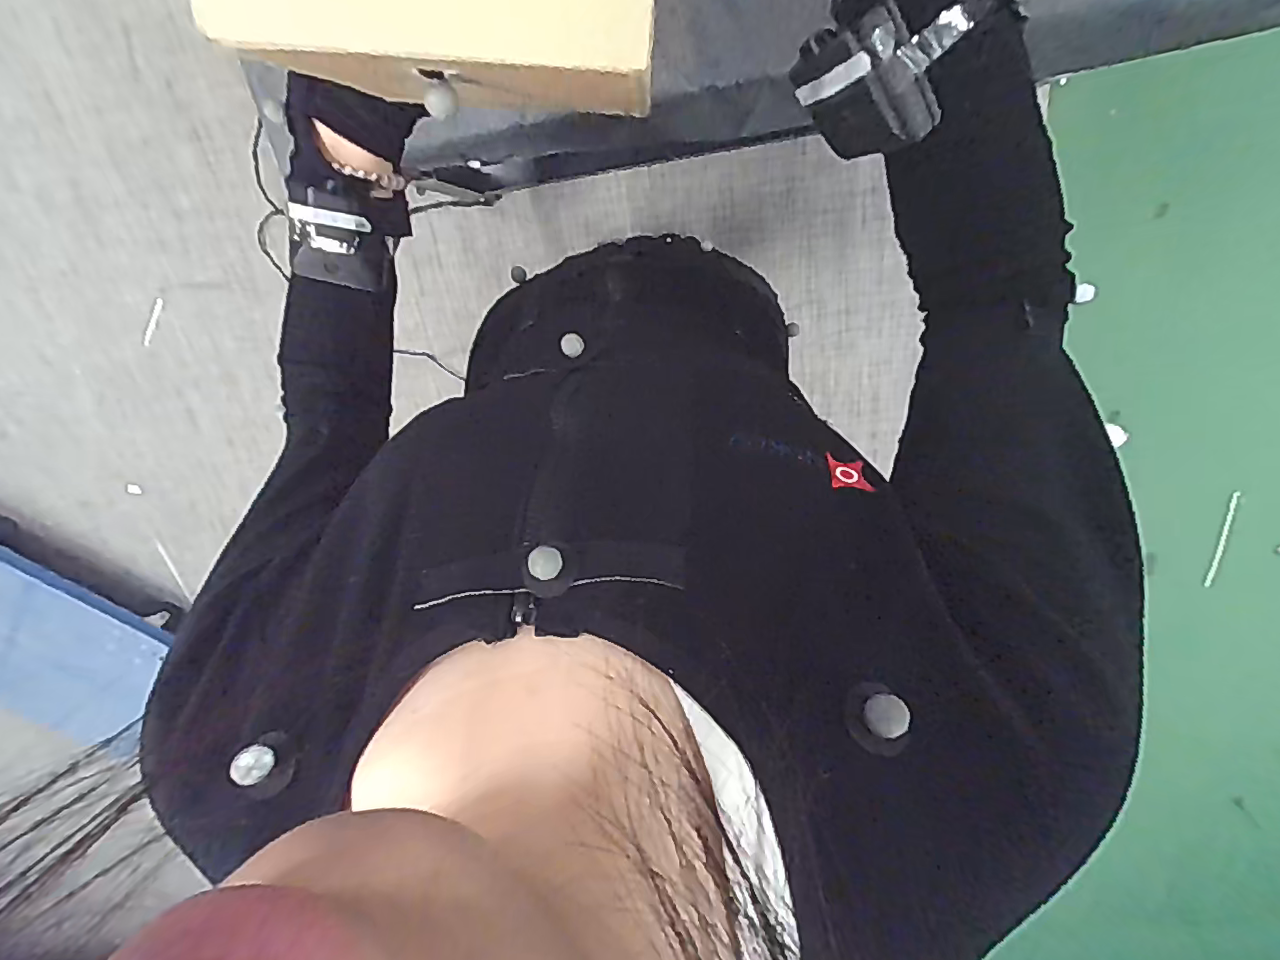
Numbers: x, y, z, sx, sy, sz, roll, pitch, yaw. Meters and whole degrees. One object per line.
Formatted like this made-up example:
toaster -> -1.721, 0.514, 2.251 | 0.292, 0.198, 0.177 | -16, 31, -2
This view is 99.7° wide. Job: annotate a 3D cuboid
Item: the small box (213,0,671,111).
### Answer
small box -> -0.072, -0.276, 0.244 | 0.179, 0.176, 0.168 | 3, 119, 0
